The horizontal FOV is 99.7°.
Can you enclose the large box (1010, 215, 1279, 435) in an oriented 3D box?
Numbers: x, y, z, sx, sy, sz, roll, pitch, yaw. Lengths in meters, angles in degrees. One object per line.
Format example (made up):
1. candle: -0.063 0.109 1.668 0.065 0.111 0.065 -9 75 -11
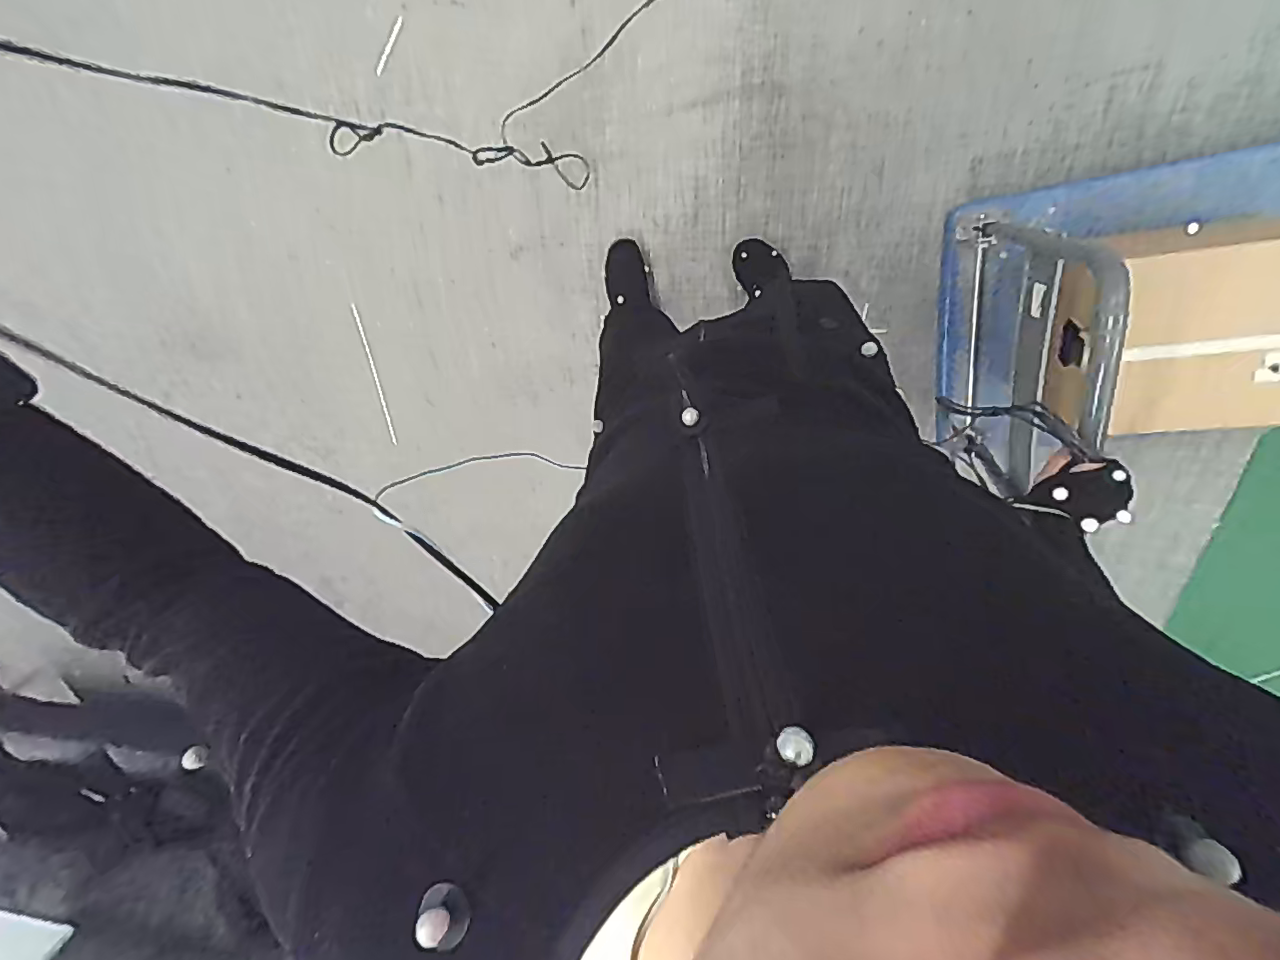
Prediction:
1. large box: 0.995 -0.298 1.020 0.408 0.320 0.320 -3 117 14
